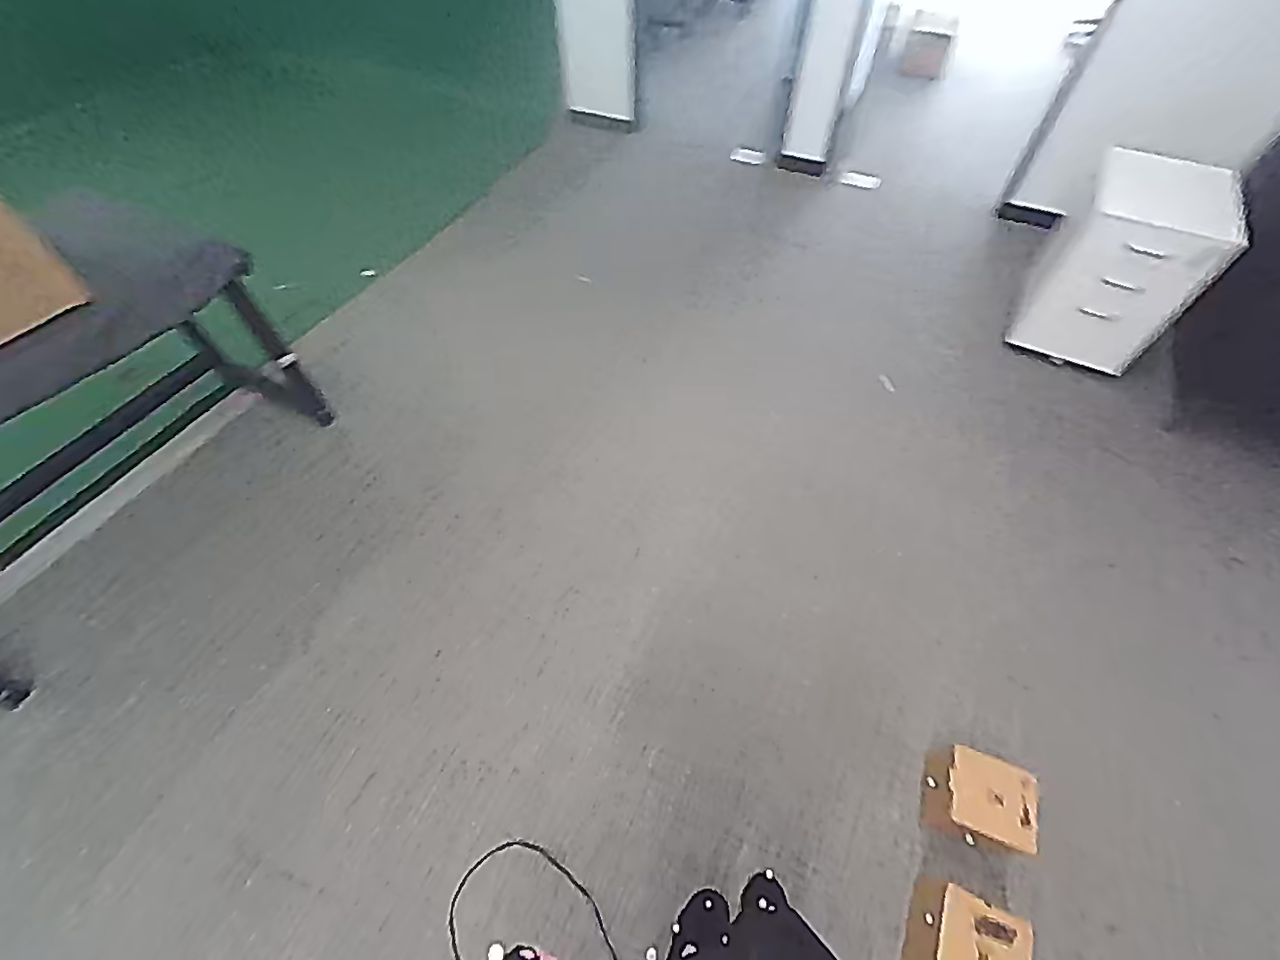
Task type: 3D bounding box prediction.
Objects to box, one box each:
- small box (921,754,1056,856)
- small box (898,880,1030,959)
[{"bbox_3d":[0.791,0.754,1.252,0.168,0.176,0.179,-4,53,-5],"label":"small box"},{"bbox_3d":[0.656,0.964,1.108,0.168,0.176,0.179,25,57,19],"label":"small box"}]
